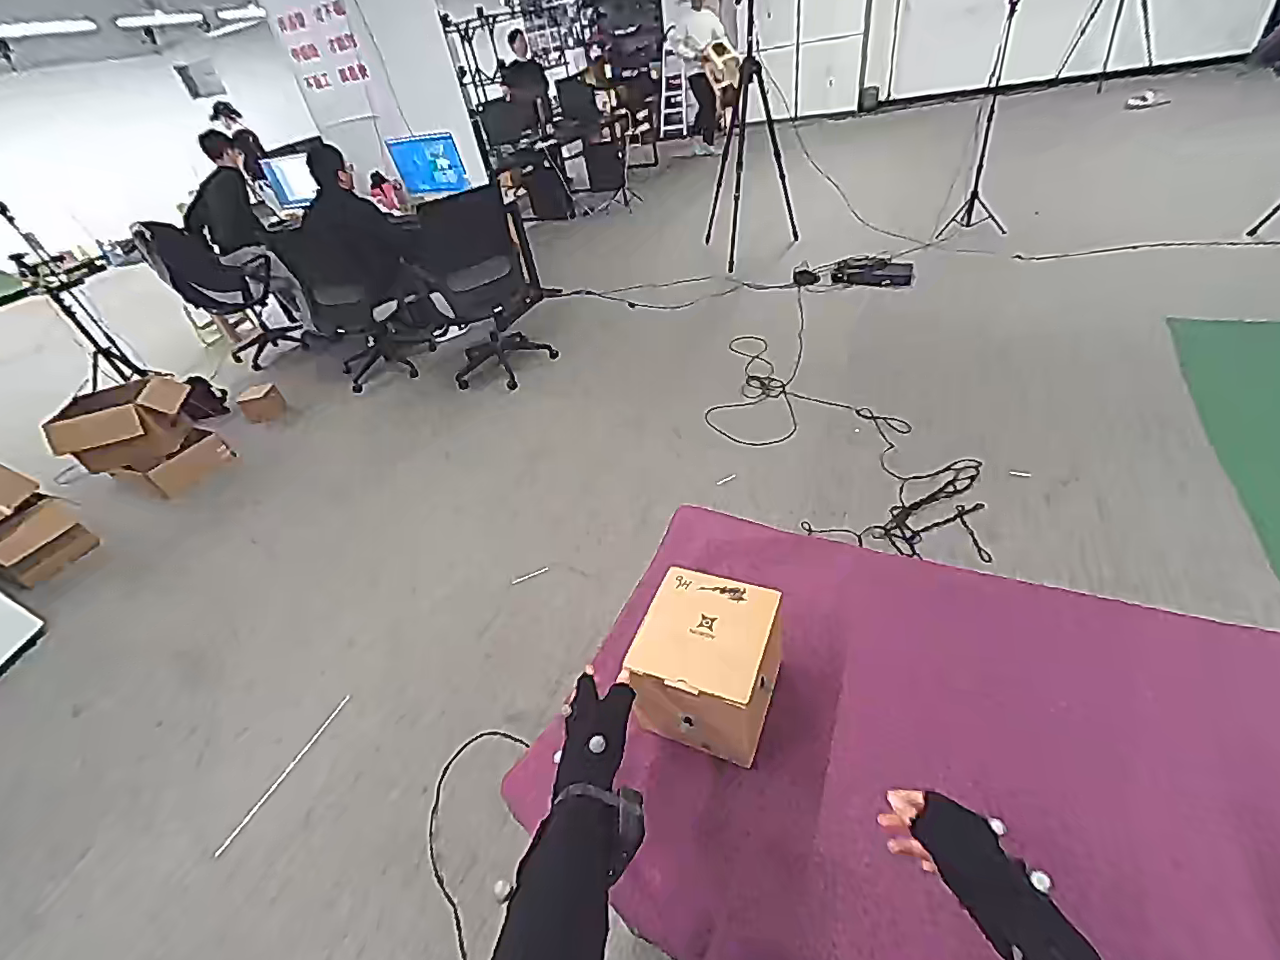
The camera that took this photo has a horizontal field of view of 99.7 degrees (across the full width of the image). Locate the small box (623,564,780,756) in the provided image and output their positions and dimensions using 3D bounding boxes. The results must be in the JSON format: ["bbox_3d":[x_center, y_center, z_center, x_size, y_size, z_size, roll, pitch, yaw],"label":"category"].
[{"bbox_3d":[0.097,0.250,0.758,0.168,0.176,0.179,10,45,24],"label":"small box"}]
